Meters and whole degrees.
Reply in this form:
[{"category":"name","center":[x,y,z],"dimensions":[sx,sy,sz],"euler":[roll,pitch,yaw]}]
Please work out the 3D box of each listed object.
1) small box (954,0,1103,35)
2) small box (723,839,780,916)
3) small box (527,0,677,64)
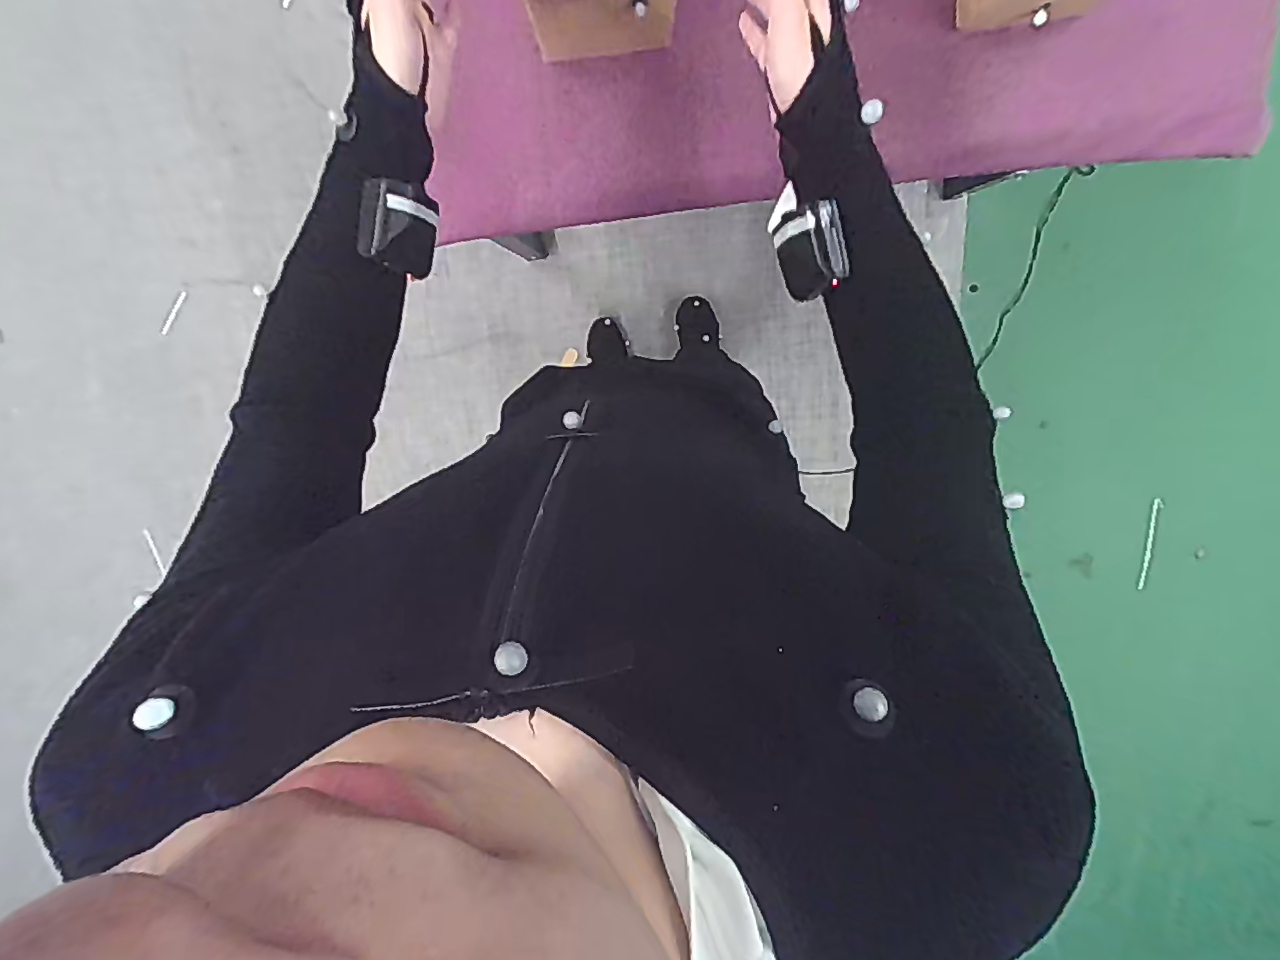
[{"category":"small box","center":[0.505,-0.667,0.634],"dimensions":[0.179,0.176,0.168],"euler":[-7,106,2]},{"category":"small box","center":[0.406,1.461,1.993],"dimensions":[0.179,0.176,0.168],"euler":[0,106,1]},{"category":"small box","center":[-0.049,-0.634,0.644],"dimensions":[0.179,0.176,0.168],"euler":[-6,106,2]}]
